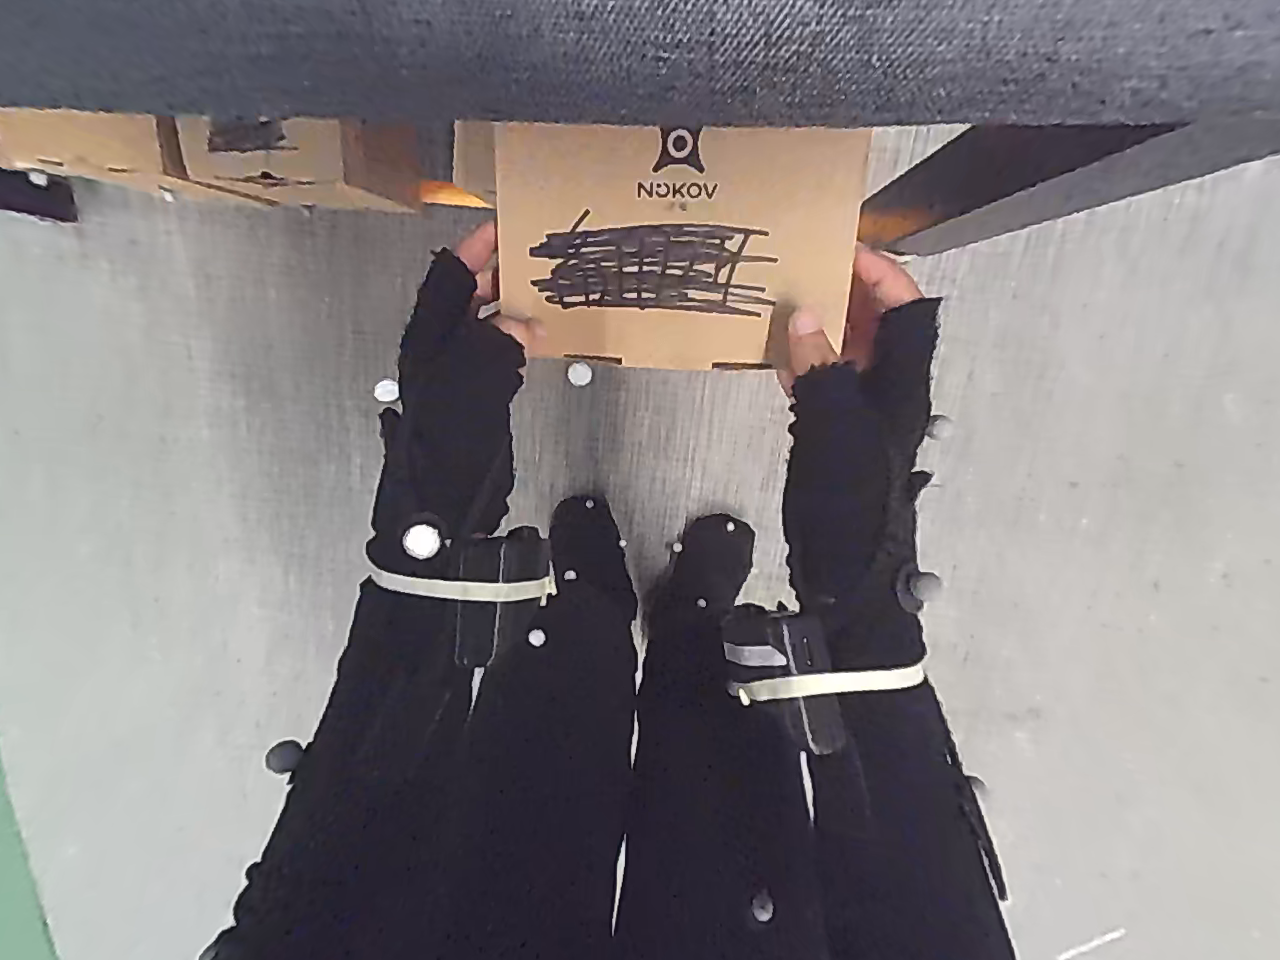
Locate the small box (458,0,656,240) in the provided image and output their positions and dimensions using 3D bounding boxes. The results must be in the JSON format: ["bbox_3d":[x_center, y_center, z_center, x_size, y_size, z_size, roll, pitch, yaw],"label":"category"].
[{"bbox_3d":[-0.077,-0.370,0.576,0.168,0.176,0.179,10,109,2],"label":"small box"}]
